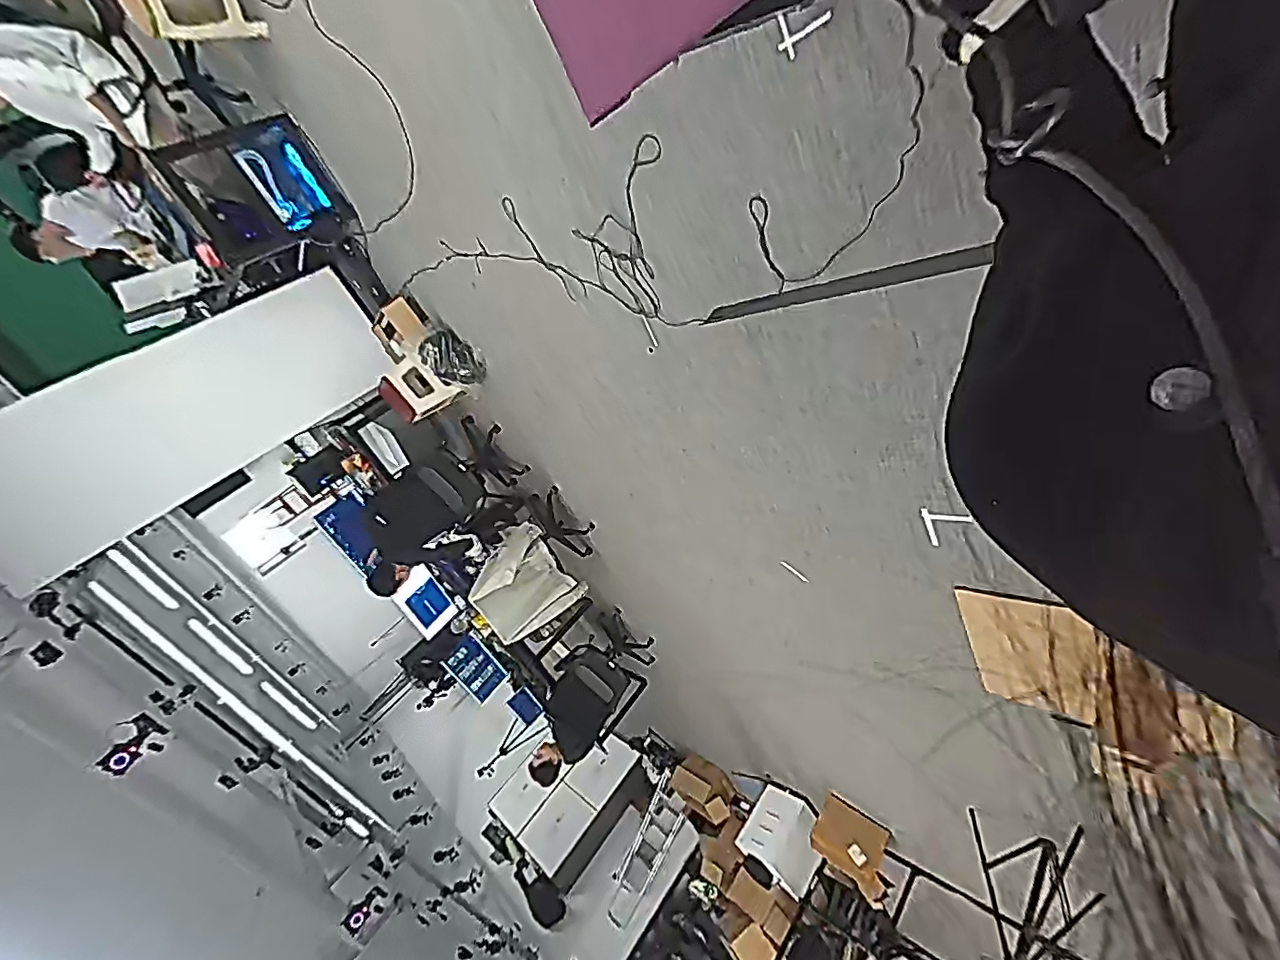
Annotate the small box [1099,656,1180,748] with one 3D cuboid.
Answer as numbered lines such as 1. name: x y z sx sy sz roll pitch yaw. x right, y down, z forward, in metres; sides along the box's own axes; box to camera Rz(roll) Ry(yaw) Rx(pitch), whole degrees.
1. small box: 1.552 0.681 1.681 0.168 0.176 0.179 9 135 49
